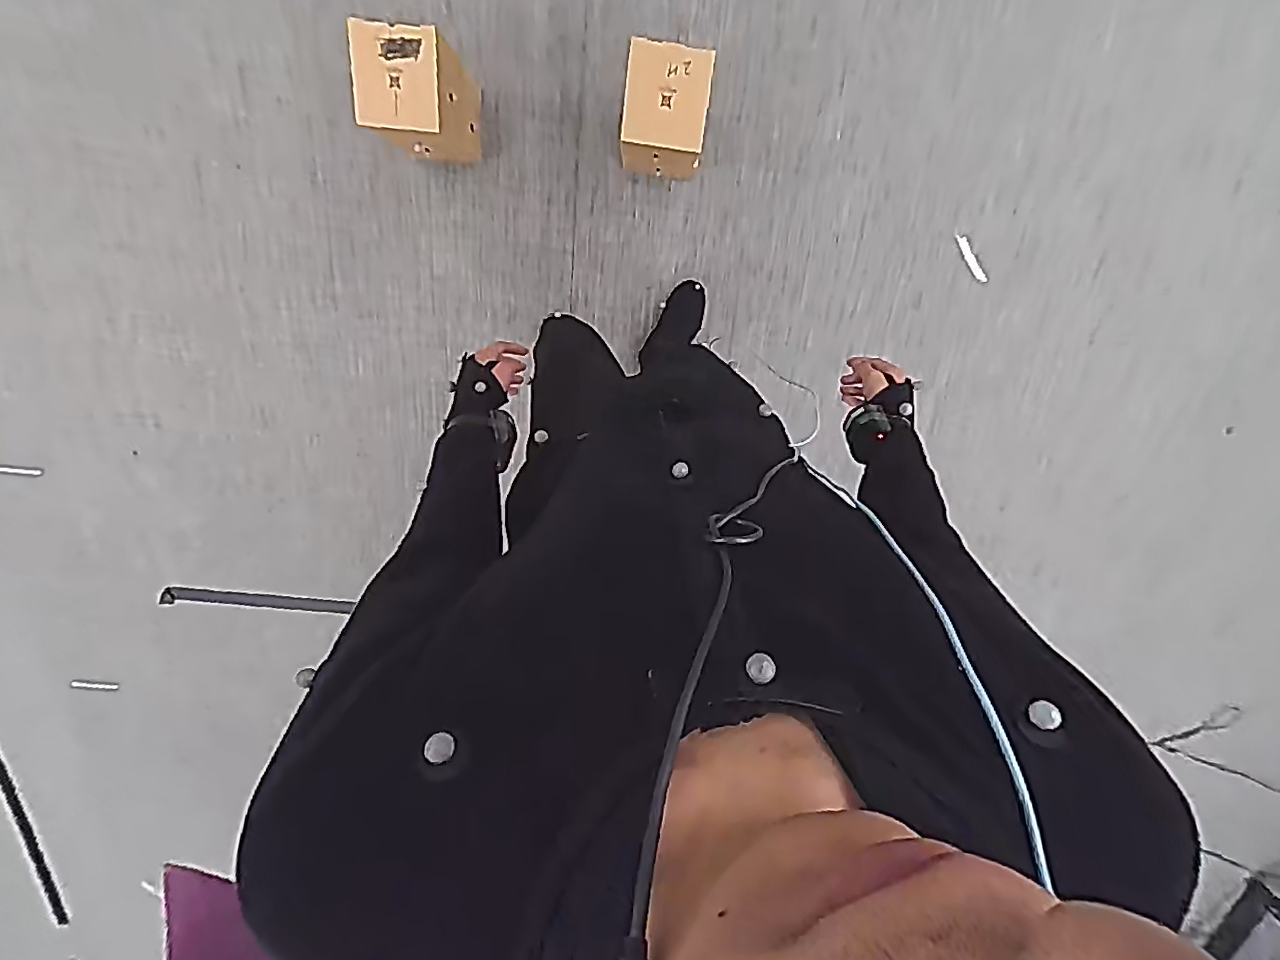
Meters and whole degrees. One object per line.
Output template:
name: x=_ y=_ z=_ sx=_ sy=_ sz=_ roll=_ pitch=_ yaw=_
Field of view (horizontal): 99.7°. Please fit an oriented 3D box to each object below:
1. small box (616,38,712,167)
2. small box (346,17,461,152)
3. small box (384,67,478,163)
small box: x=0.044 y=-0.773 z=1.129 sx=0.168 sy=0.176 sz=0.179 roll=7 pitch=110 yaw=-5
small box: x=-0.473 y=-0.797 z=1.107 sx=0.168 sy=0.176 sz=0.179 roll=5 pitch=111 yaw=-2
small box: x=-0.482 y=-0.853 z=1.261 sx=0.179 sy=0.176 sz=0.168 roll=4 pitch=111 yaw=-2
